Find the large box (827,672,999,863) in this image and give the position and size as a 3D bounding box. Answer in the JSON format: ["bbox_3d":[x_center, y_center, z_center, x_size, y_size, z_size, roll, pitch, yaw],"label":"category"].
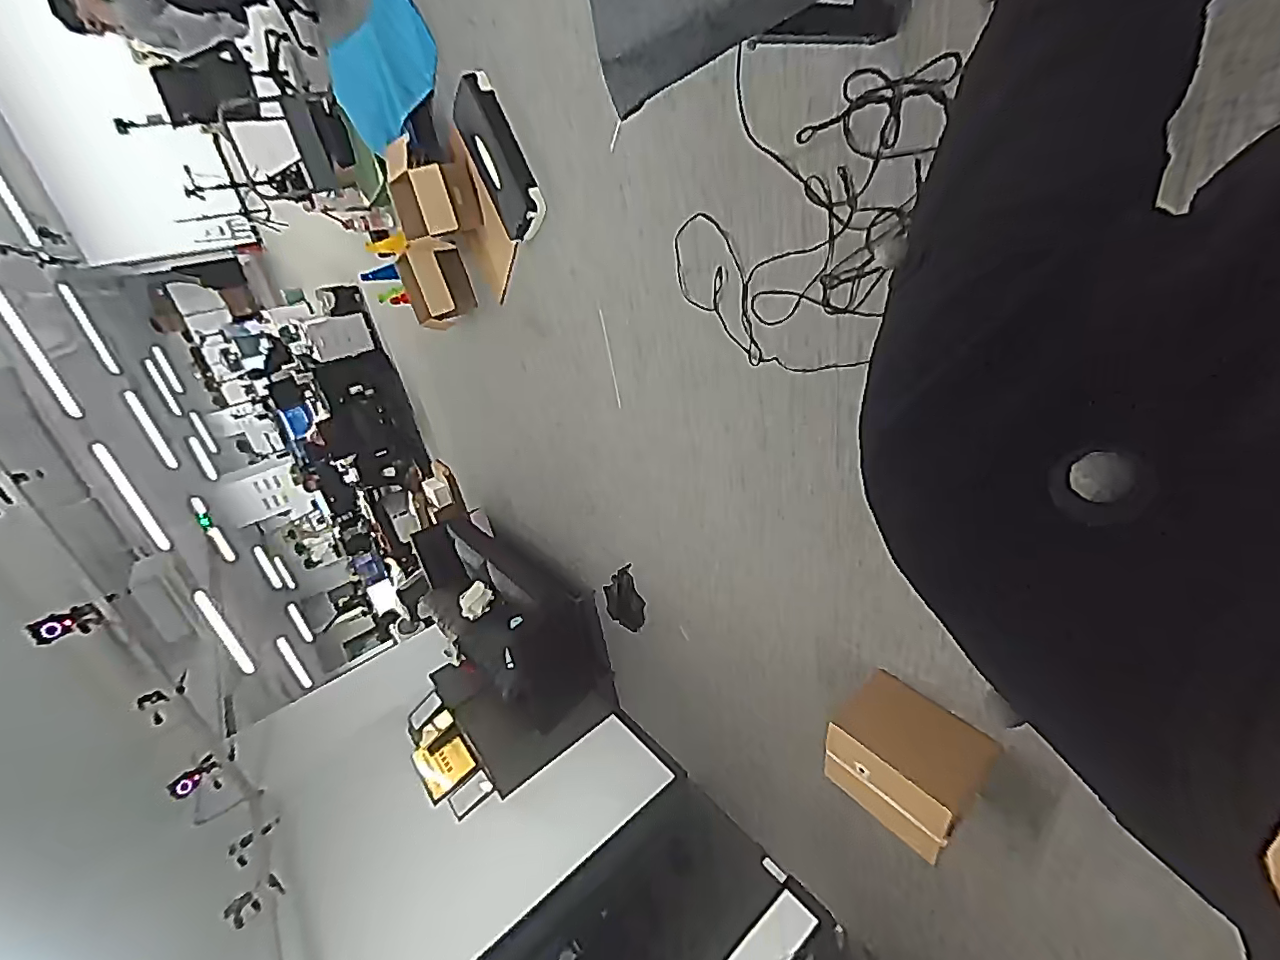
[{"bbox_3d":[0.896,0.938,1.807,0.408,0.320,0.320,30,136,45],"label":"large box"}]
